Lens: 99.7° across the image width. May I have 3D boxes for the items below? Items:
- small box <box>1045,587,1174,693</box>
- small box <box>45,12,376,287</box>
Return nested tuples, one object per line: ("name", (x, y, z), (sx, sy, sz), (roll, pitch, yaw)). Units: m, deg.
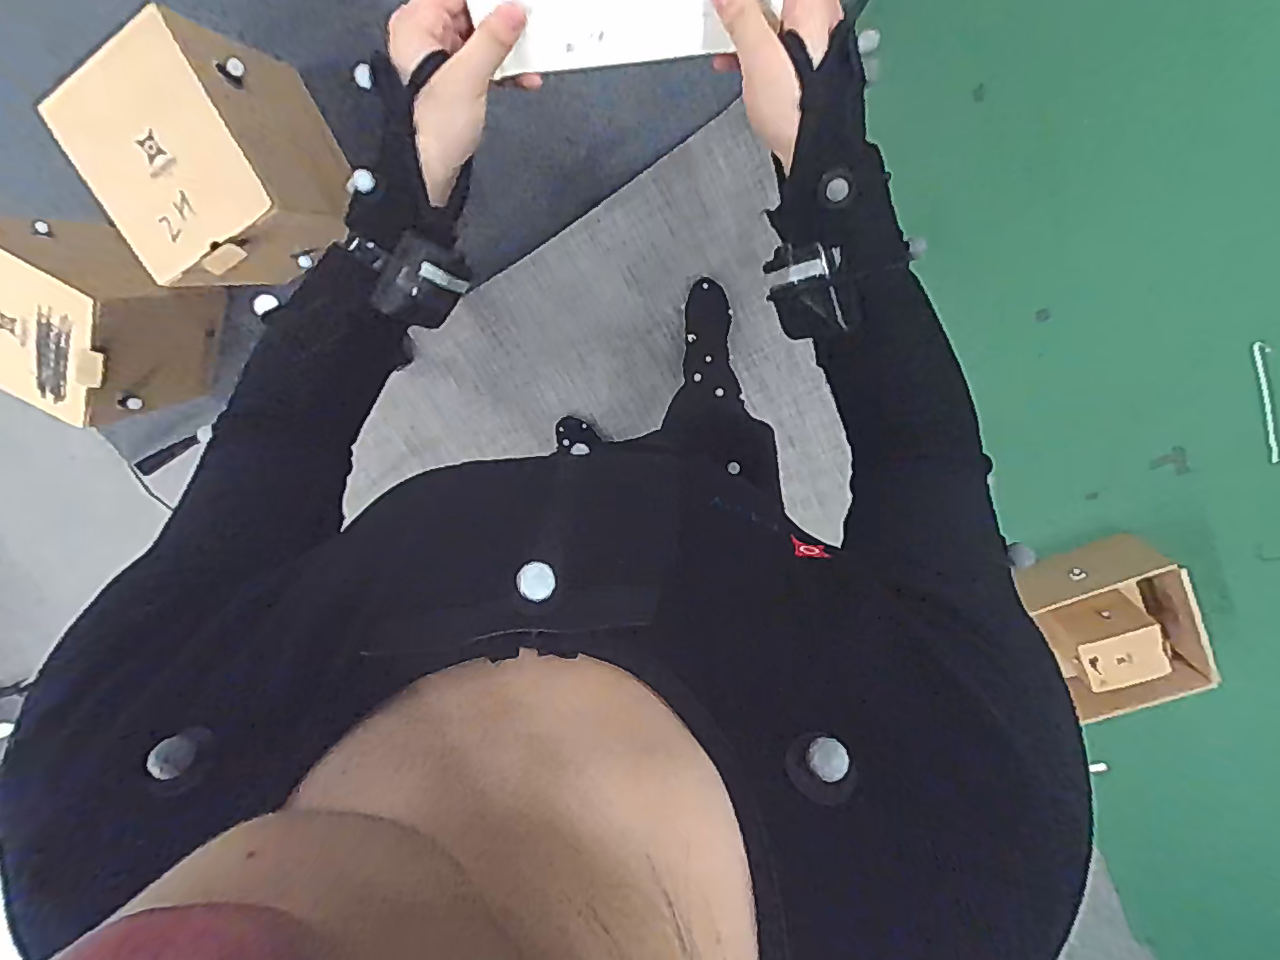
("small box", (1.191, 0.402, 1.382), (0.179, 0.176, 0.168), (-26, 108, 17))
("small box", (-0.429, -0.322, 0.572), (0.168, 0.176, 0.179), (-22, 107, 16))
